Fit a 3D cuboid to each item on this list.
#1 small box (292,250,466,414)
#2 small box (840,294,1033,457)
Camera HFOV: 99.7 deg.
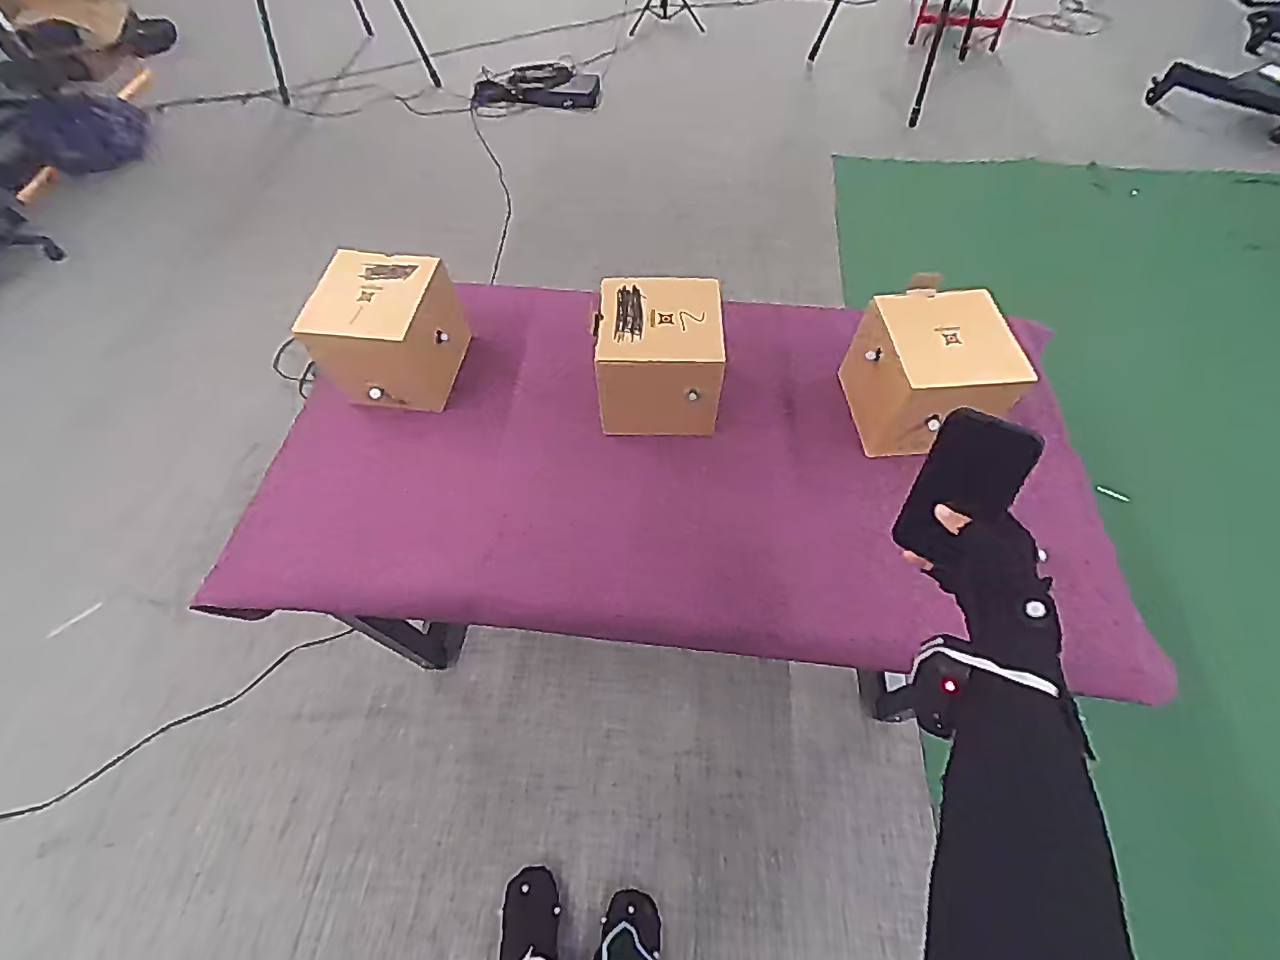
[{"bbox_3d":[-0.392,-0.230,0.853,0.168,0.176,0.179,6,61,4],"label":"small box"},{"bbox_3d":[0.417,-0.145,0.797,0.168,0.176,0.179,-4,58,-1],"label":"small box"}]
